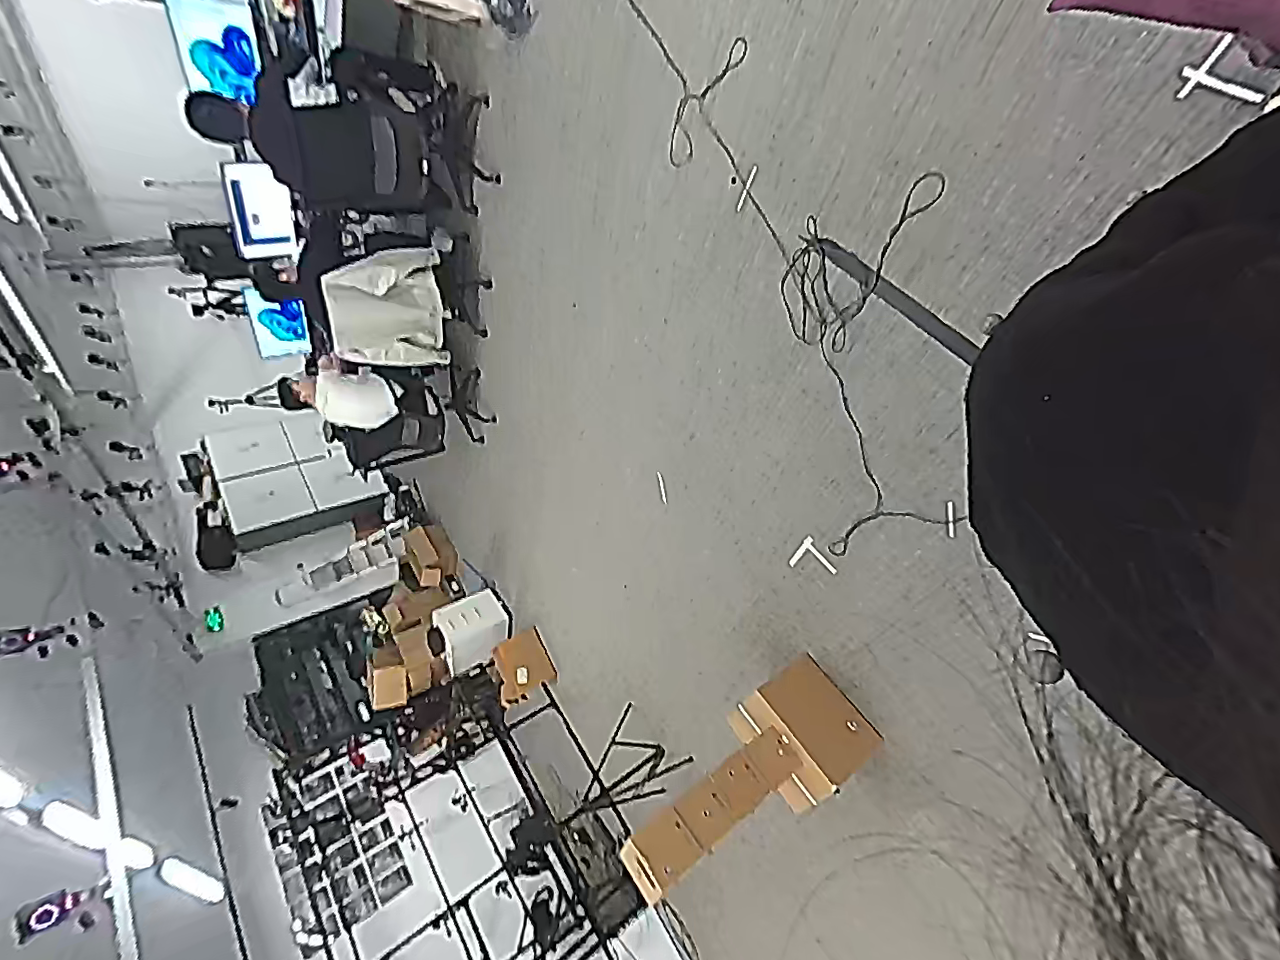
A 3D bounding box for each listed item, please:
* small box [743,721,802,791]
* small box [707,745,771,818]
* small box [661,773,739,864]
[{"bbox_3d":[0.451,1.012,1.956,0.168,0.176,0.179,49,140,27],"label":"small box"},{"bbox_3d":[0.324,1.051,1.863,0.168,0.176,0.179,49,141,29],"label":"small box"},{"bbox_3d":[0.198,1.103,1.771,0.168,0.176,0.179,46,139,32],"label":"small box"}]
